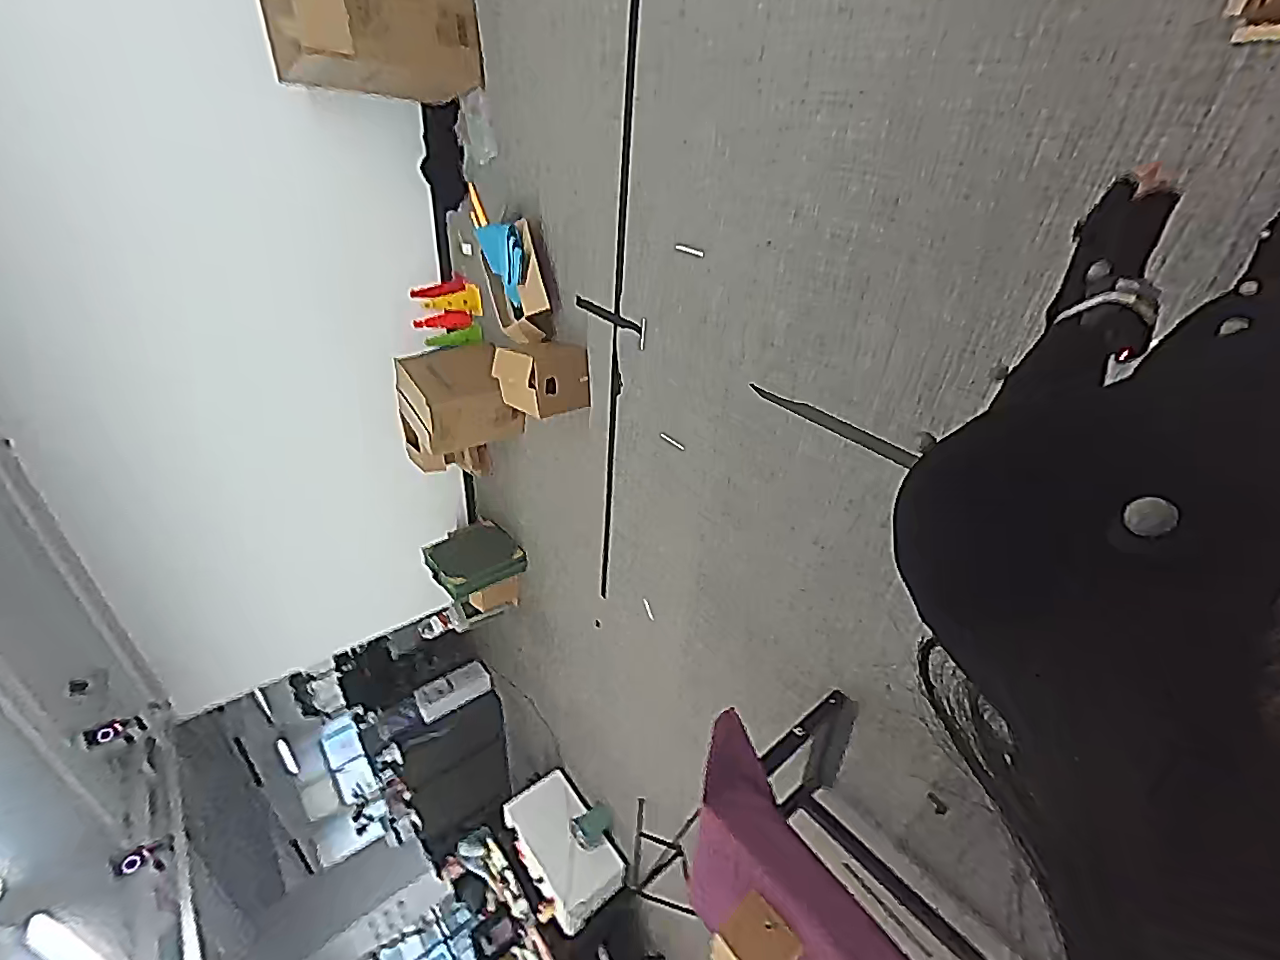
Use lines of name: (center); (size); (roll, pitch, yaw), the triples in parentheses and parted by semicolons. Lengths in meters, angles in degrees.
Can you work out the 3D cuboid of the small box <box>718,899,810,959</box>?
small box: (0.343, 1.324, 1.509); (0.179, 0.176, 0.168); (31, 130, 43)
